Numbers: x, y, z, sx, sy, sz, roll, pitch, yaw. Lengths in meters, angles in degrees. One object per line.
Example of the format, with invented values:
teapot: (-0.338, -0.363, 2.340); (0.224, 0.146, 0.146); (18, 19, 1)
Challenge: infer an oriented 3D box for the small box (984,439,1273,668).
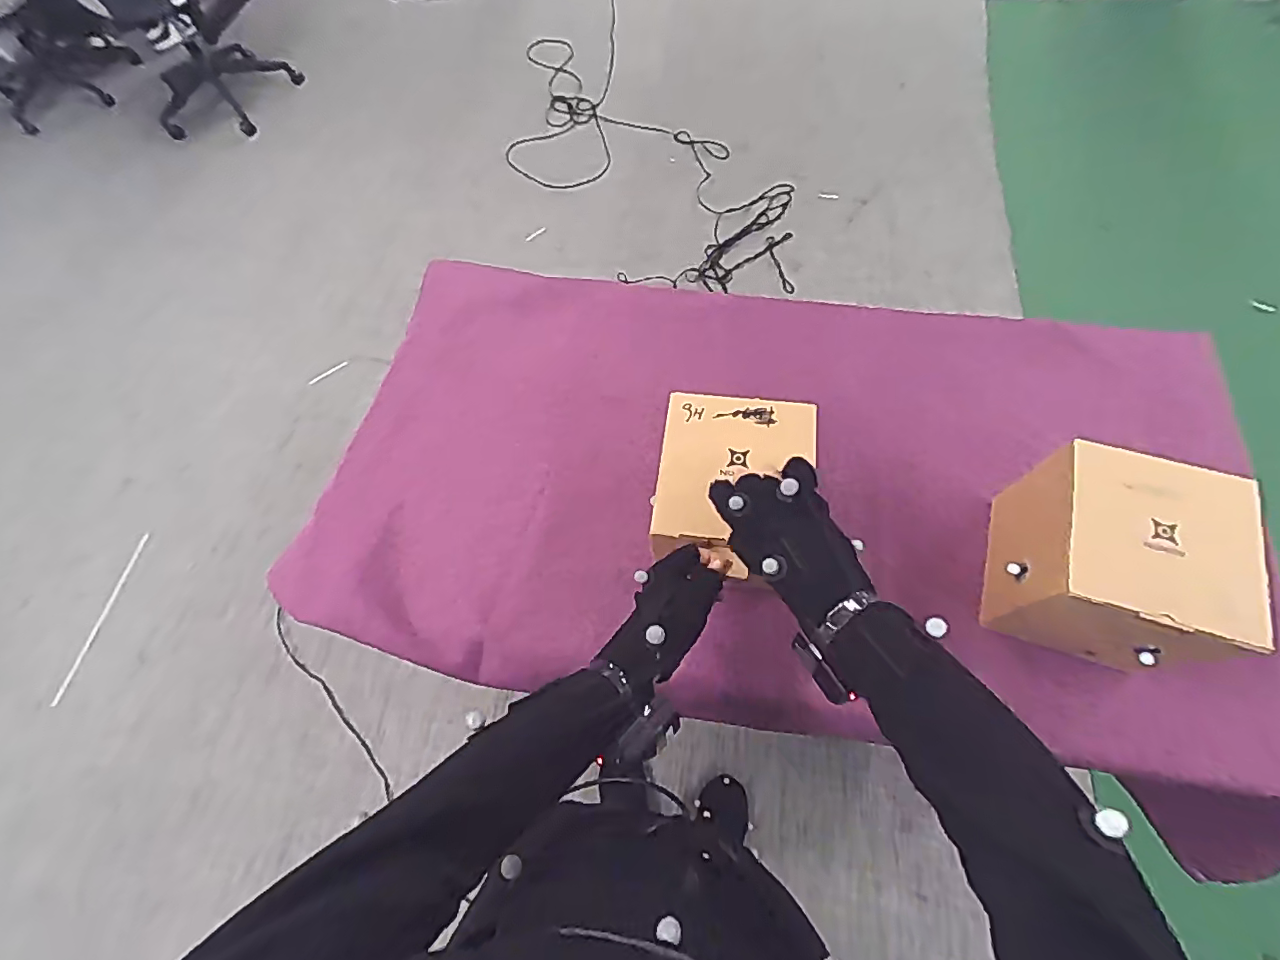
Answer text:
small box: (0.503, 0.087, 0.584); (0.168, 0.176, 0.179); (17, 67, 12)

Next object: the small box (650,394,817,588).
small box: (0.110, 0.021, 0.649); (0.168, 0.176, 0.179); (6, 66, 7)
